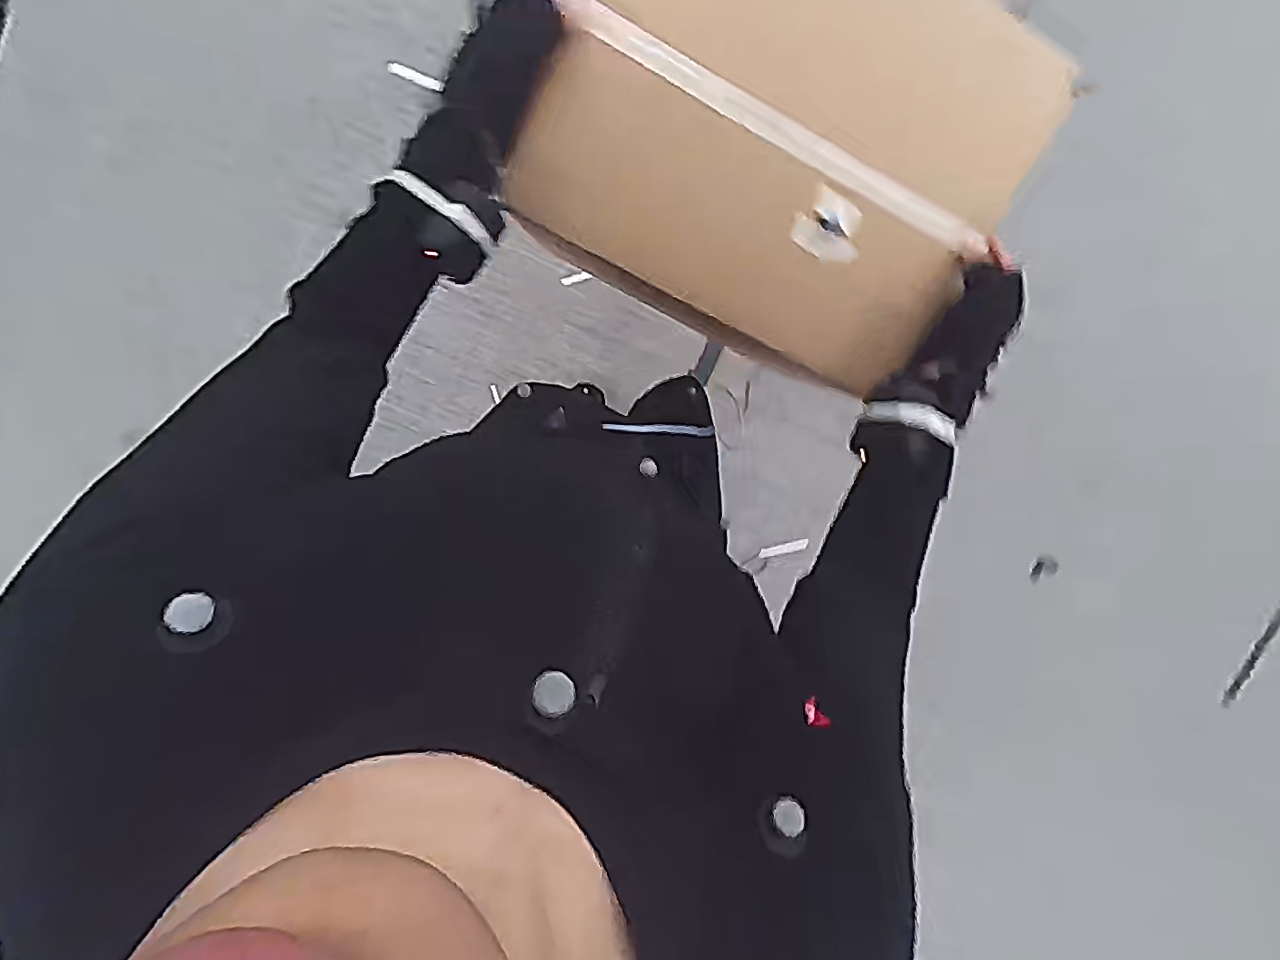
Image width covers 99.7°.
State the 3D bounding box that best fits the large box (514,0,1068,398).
[{"bbox_3d":[0.121,-0.333,0.612,0.408,0.320,0.320,26,105,-10],"label":"large box"}]
